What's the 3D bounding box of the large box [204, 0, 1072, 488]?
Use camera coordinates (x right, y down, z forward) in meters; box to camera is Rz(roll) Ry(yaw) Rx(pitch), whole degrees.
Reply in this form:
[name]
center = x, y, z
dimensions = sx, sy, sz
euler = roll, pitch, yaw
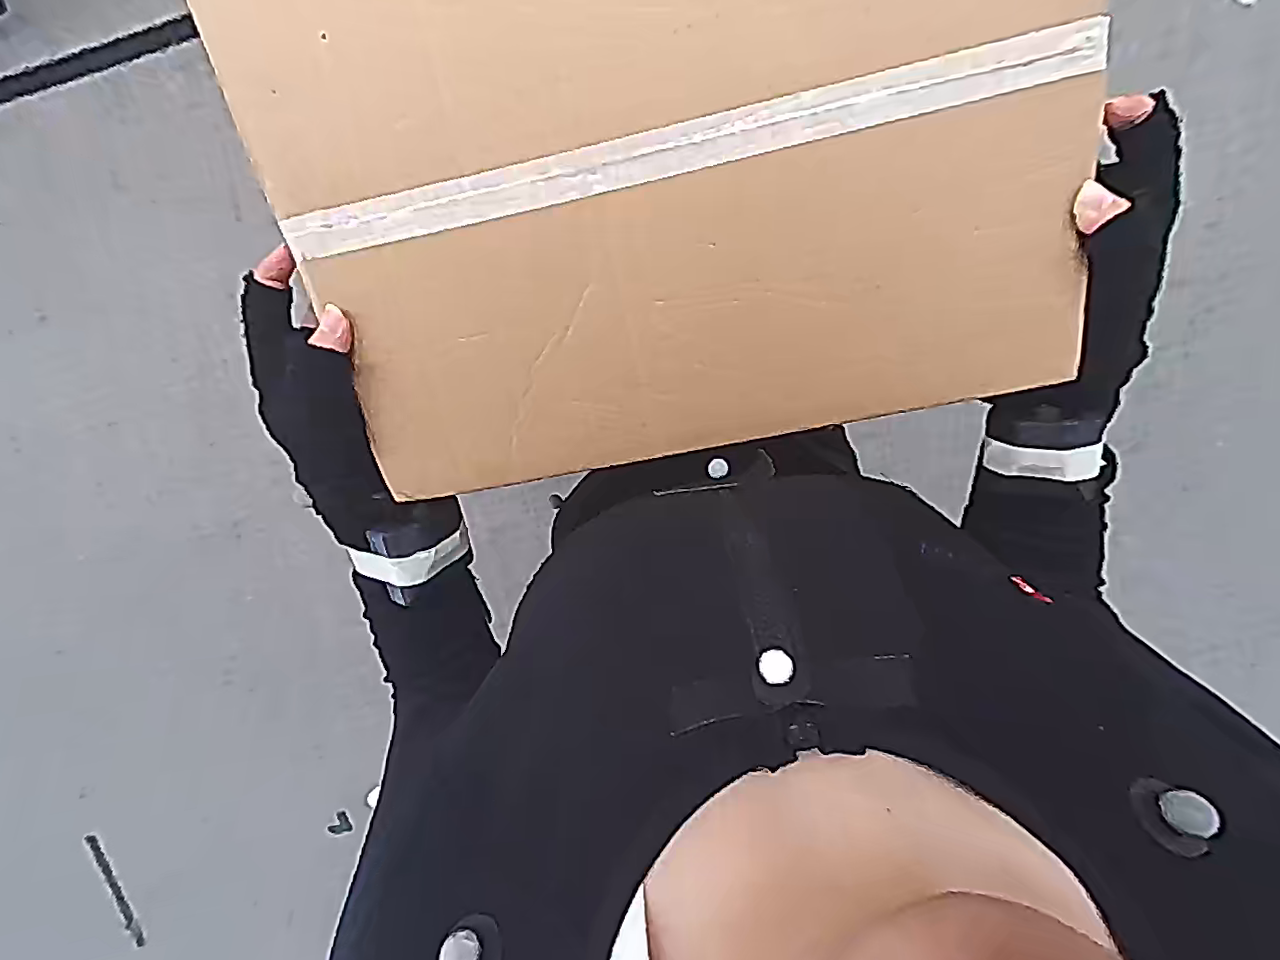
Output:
[large box]
center = 0.013, -0.227, 0.414
dimensions = 0.408, 0.320, 0.320
euler = -10, 111, 5
